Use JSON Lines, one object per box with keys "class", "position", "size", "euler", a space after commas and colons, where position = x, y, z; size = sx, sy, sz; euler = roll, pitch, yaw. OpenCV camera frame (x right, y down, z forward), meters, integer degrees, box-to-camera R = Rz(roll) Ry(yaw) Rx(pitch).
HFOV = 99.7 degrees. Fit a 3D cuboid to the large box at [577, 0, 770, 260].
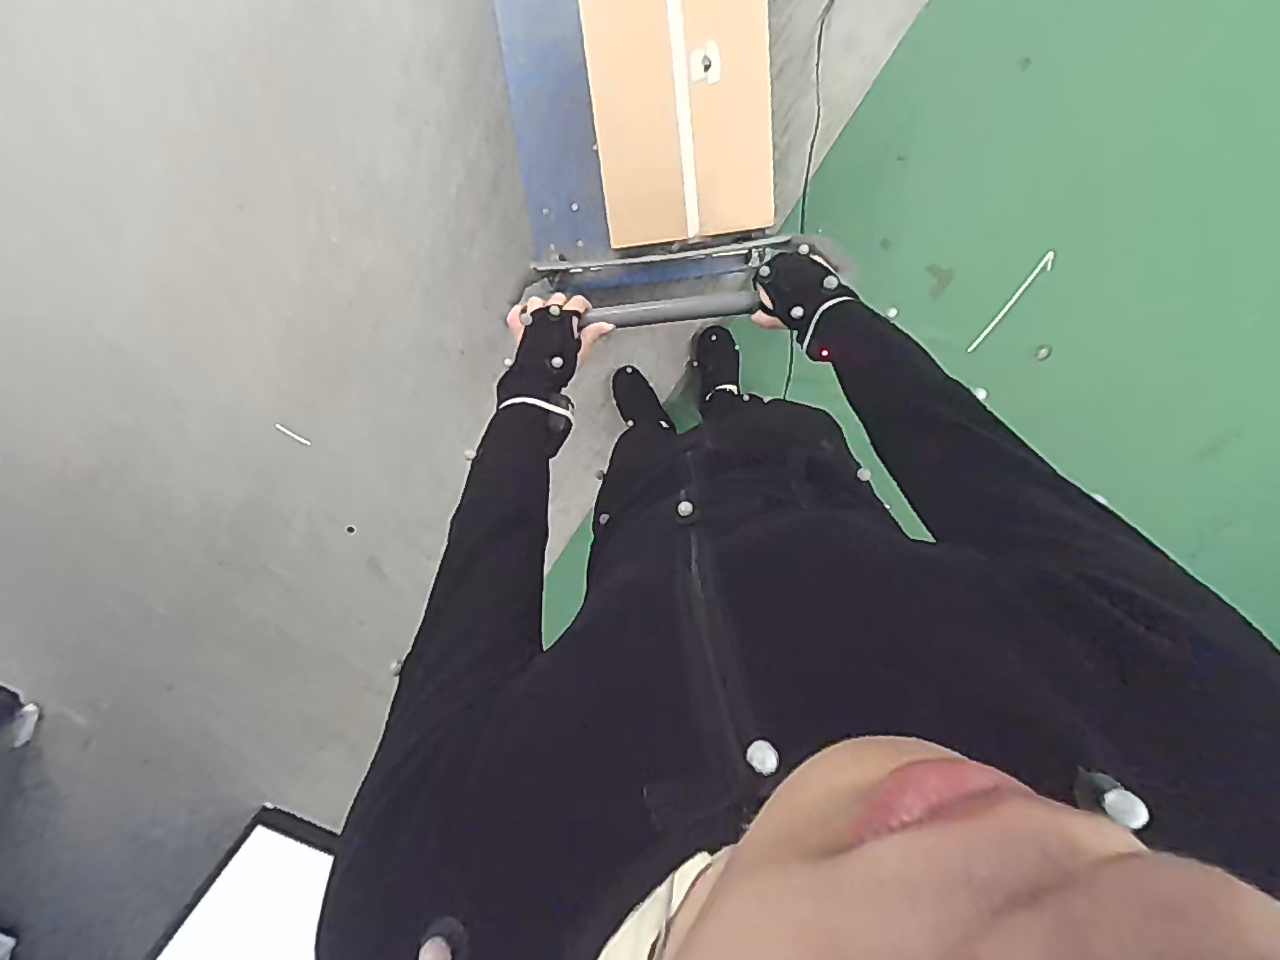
{"class": "large box", "position": [0.073, -0.694, 1.118], "size": [0.320, 0.320, 0.408], "euler": [-7, 110, 2]}
